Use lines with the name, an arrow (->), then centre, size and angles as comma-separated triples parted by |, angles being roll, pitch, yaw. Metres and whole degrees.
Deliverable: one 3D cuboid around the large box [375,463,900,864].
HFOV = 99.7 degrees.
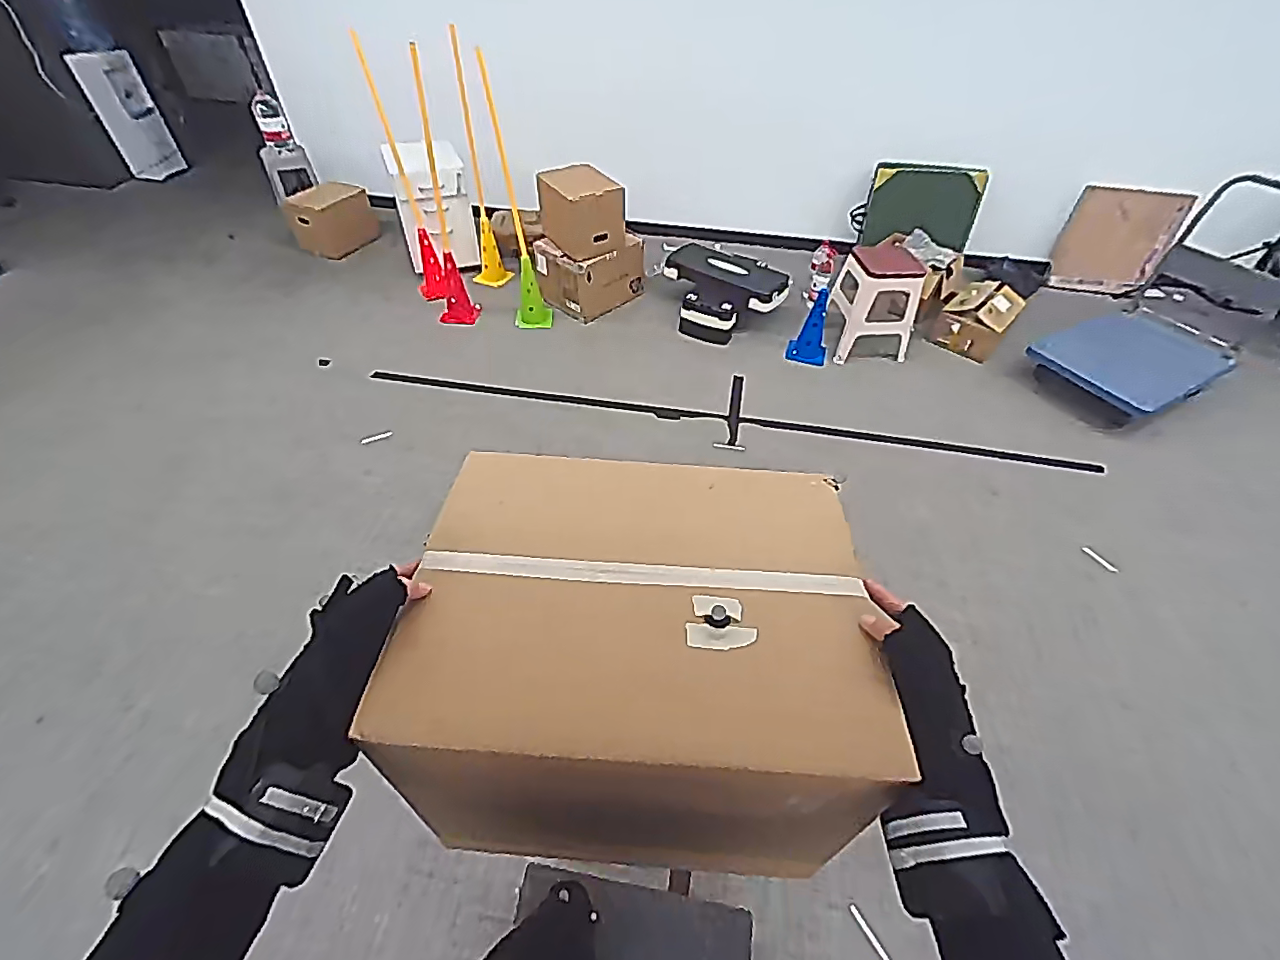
large box -> -0.003, 0.204, 0.610 | 0.408, 0.320, 0.320 | 4, 44, 1
